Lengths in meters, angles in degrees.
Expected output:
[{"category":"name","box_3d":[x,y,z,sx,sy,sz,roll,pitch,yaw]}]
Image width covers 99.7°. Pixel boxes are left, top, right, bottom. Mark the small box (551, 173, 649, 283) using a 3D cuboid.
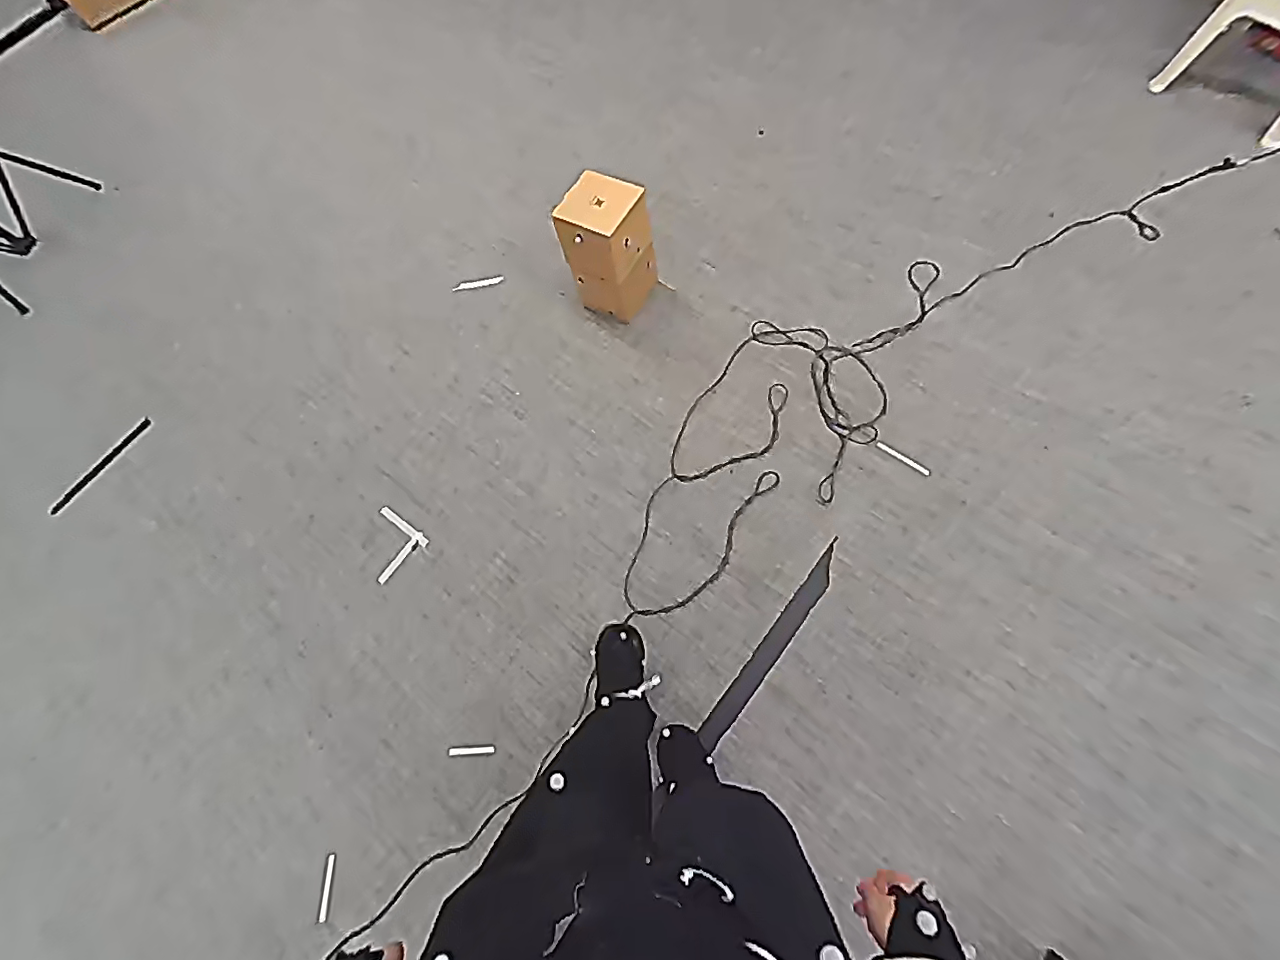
[{"category":"small box","box_3d":[-0.091,-0.633,1.377,0.179,0.176,0.168,27,75,17]}]
